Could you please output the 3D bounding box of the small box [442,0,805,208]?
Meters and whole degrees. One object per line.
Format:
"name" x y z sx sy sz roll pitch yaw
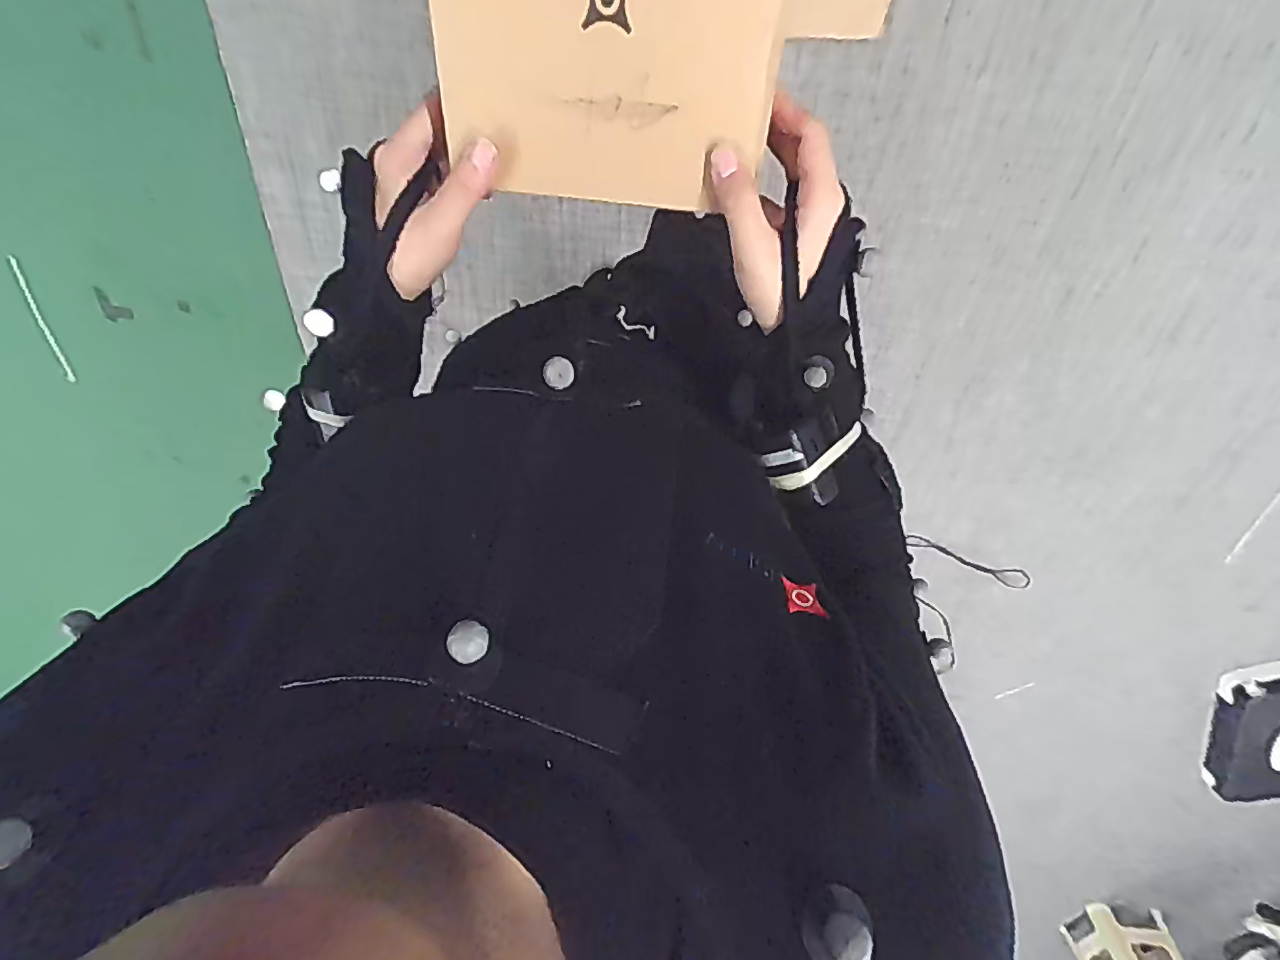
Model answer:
"small box" -0.001 -0.272 0.297 0.168 0.176 0.179 7 131 2
